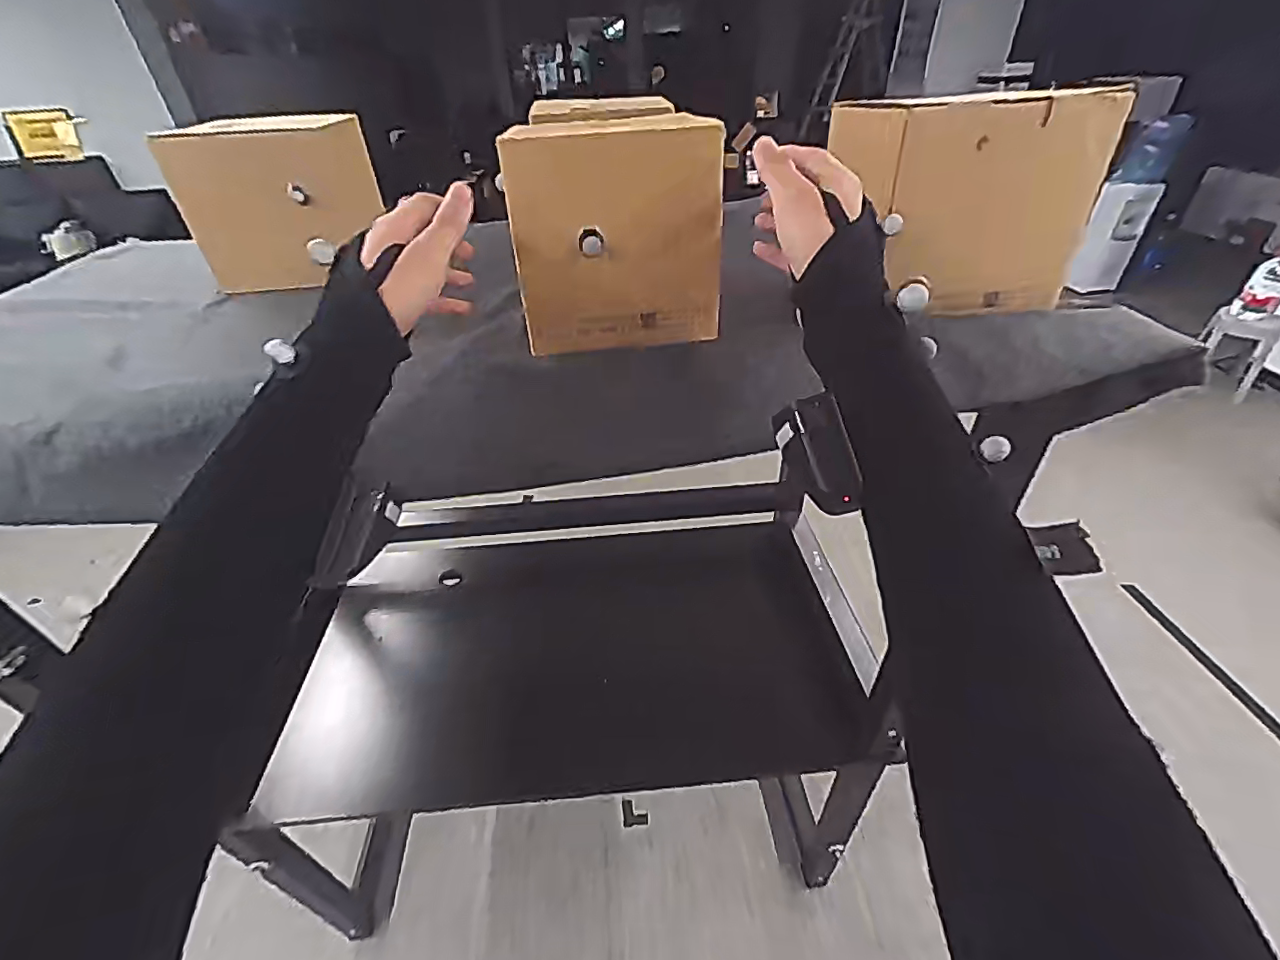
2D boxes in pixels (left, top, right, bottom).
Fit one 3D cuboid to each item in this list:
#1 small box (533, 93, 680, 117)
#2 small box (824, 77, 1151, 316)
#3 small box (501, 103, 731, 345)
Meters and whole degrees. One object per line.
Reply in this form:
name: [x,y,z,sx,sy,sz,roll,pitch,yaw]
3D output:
small box: [-0.040,-0.395,0.704,0.168,0.176,0.179,-6,38,-3]
small box: [0.282,-0.254,0.493,0.168,0.176,0.179,-4,34,0]
small box: [-0.018,-0.227,0.485,0.168,0.176,0.179,-6,36,-3]
